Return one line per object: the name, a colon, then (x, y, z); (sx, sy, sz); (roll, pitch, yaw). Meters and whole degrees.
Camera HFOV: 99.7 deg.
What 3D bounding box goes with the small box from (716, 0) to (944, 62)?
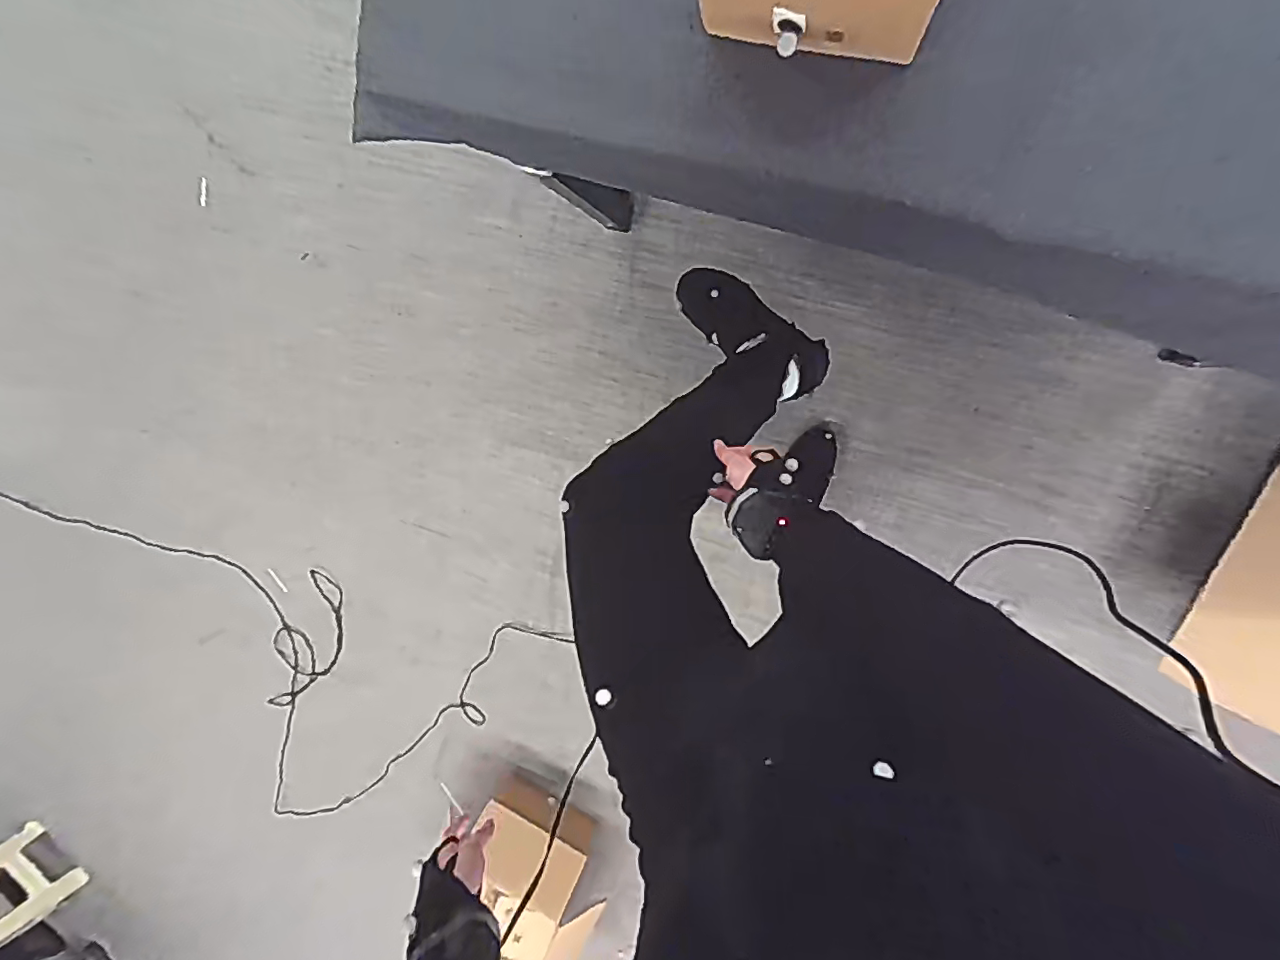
small box: (0.133, -0.405, 0.329); (0.168, 0.176, 0.179); (16, 107, 11)
